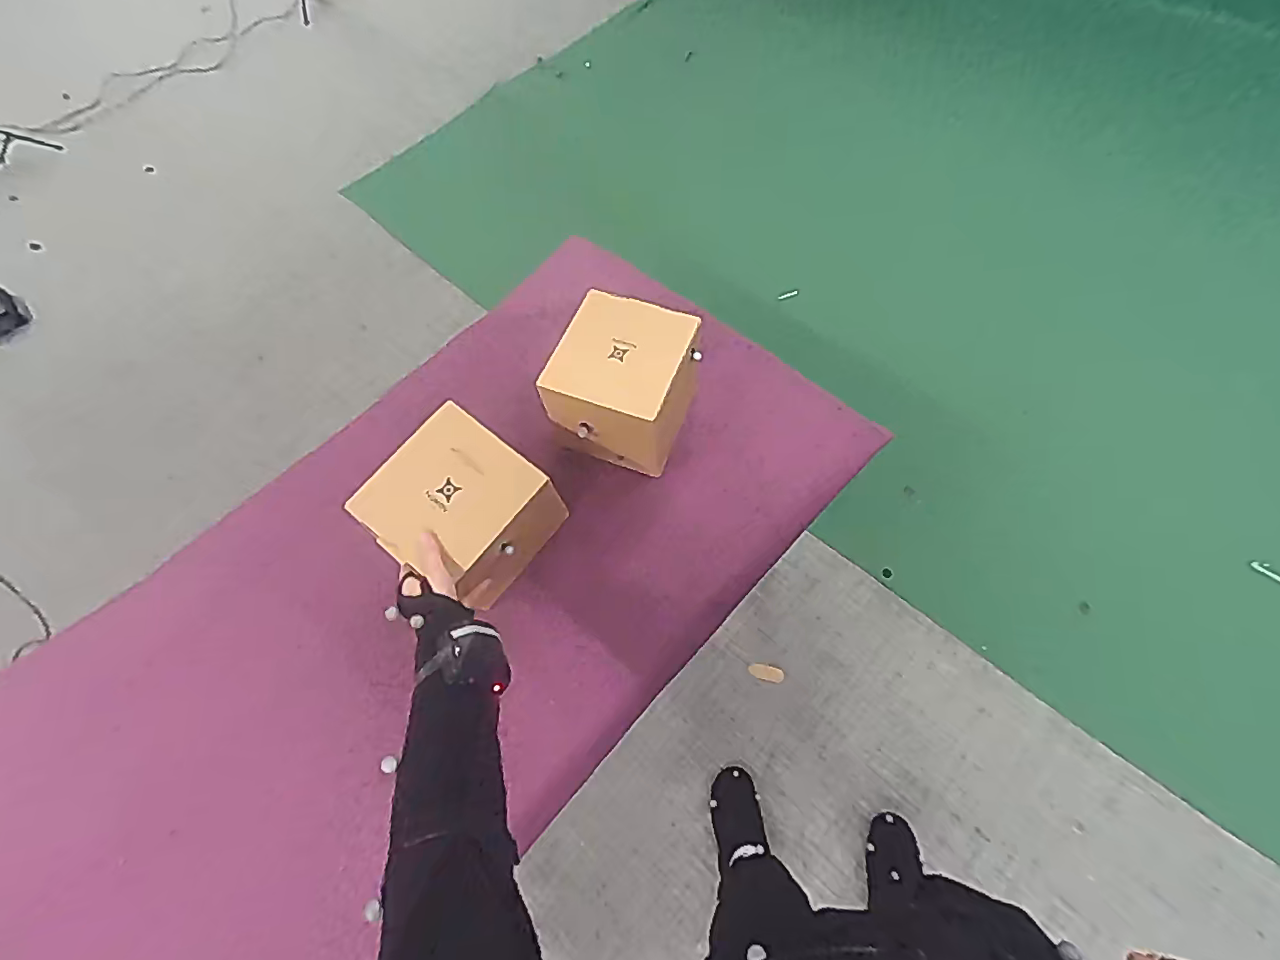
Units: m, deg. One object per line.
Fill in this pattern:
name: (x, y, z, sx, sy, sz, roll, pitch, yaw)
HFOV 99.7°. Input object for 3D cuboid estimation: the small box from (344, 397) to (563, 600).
small box: (-0.219, 0.035, 0.689, 0.168, 0.176, 0.179, 38, 77, 12)

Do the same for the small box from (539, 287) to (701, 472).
small box: (-0.018, -0.136, 0.773, 0.168, 0.176, 0.179, 19, 67, 13)
